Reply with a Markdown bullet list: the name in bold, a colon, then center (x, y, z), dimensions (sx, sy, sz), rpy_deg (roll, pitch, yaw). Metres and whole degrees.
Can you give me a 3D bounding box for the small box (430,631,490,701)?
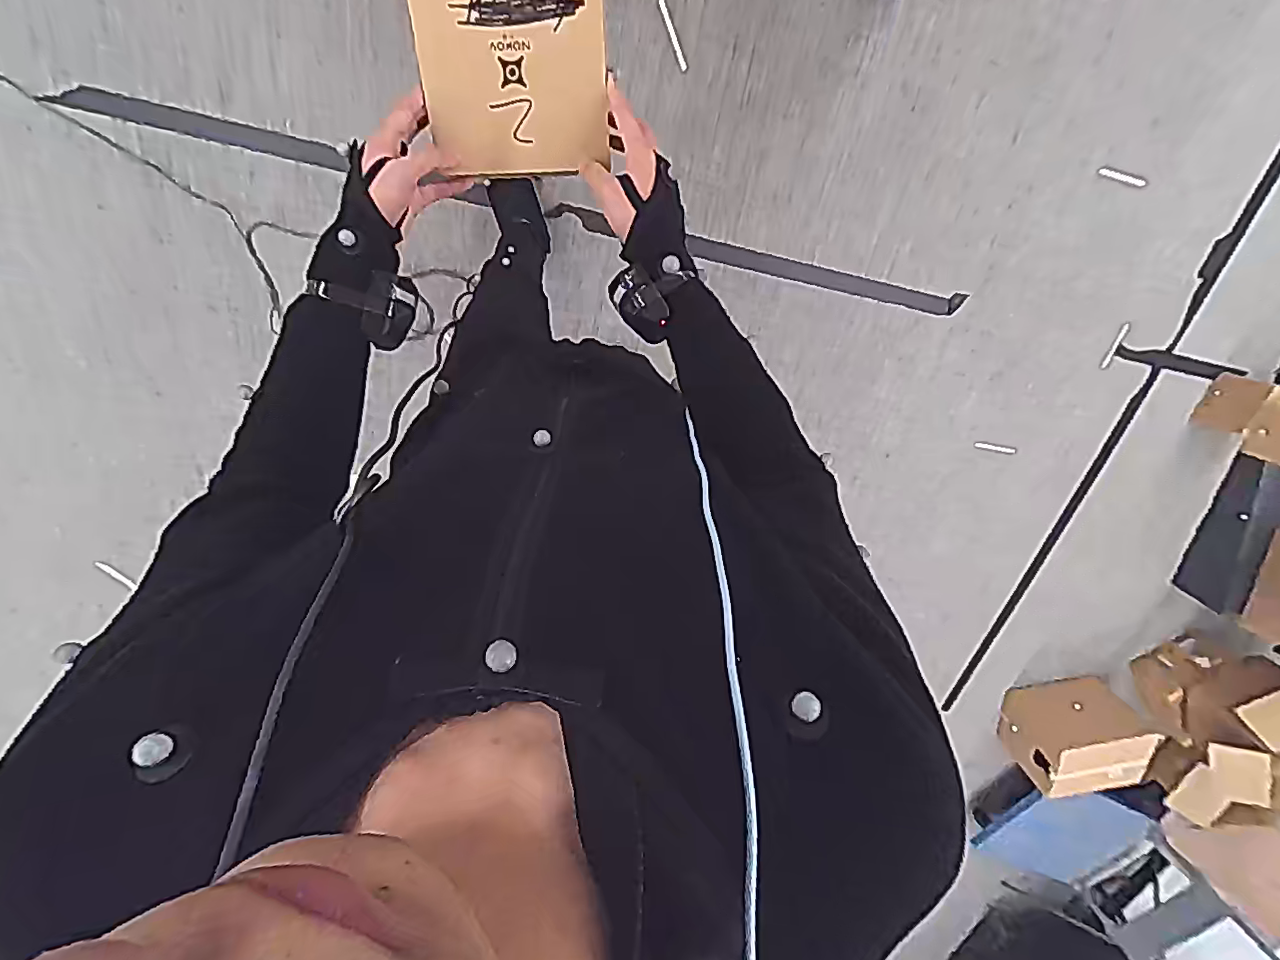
- **small box**: center (-0.632, 0.652, 1.908), dimensions (0.179, 0.176, 0.168), rpy_deg (7, 116, -9)
